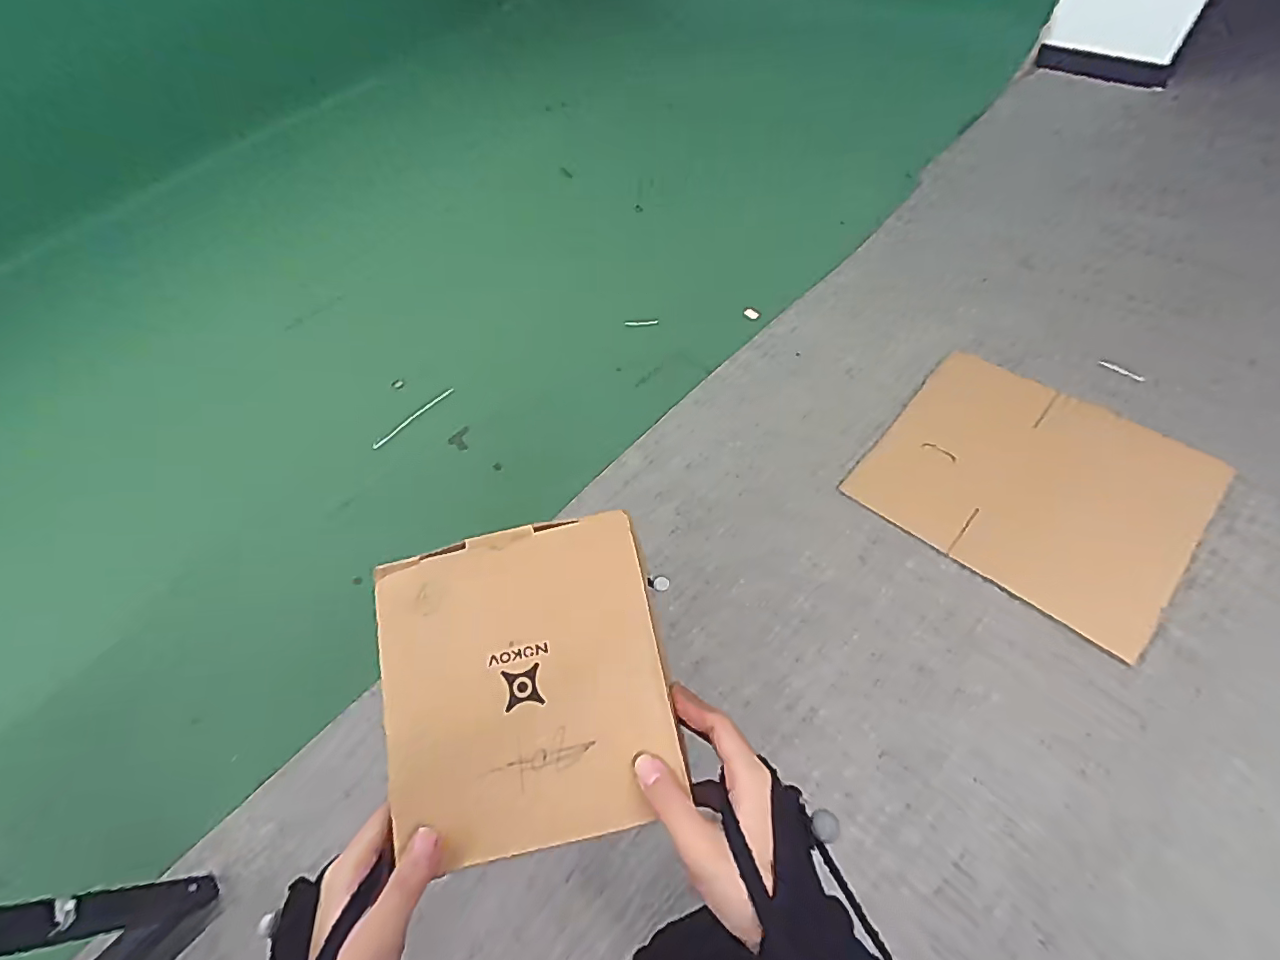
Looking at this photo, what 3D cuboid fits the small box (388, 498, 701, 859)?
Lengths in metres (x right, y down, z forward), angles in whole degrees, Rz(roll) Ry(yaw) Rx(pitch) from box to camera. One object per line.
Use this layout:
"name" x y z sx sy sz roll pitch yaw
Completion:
"small box" -0.058 0.130 0.392 0.168 0.176 0.179 -13 74 0
